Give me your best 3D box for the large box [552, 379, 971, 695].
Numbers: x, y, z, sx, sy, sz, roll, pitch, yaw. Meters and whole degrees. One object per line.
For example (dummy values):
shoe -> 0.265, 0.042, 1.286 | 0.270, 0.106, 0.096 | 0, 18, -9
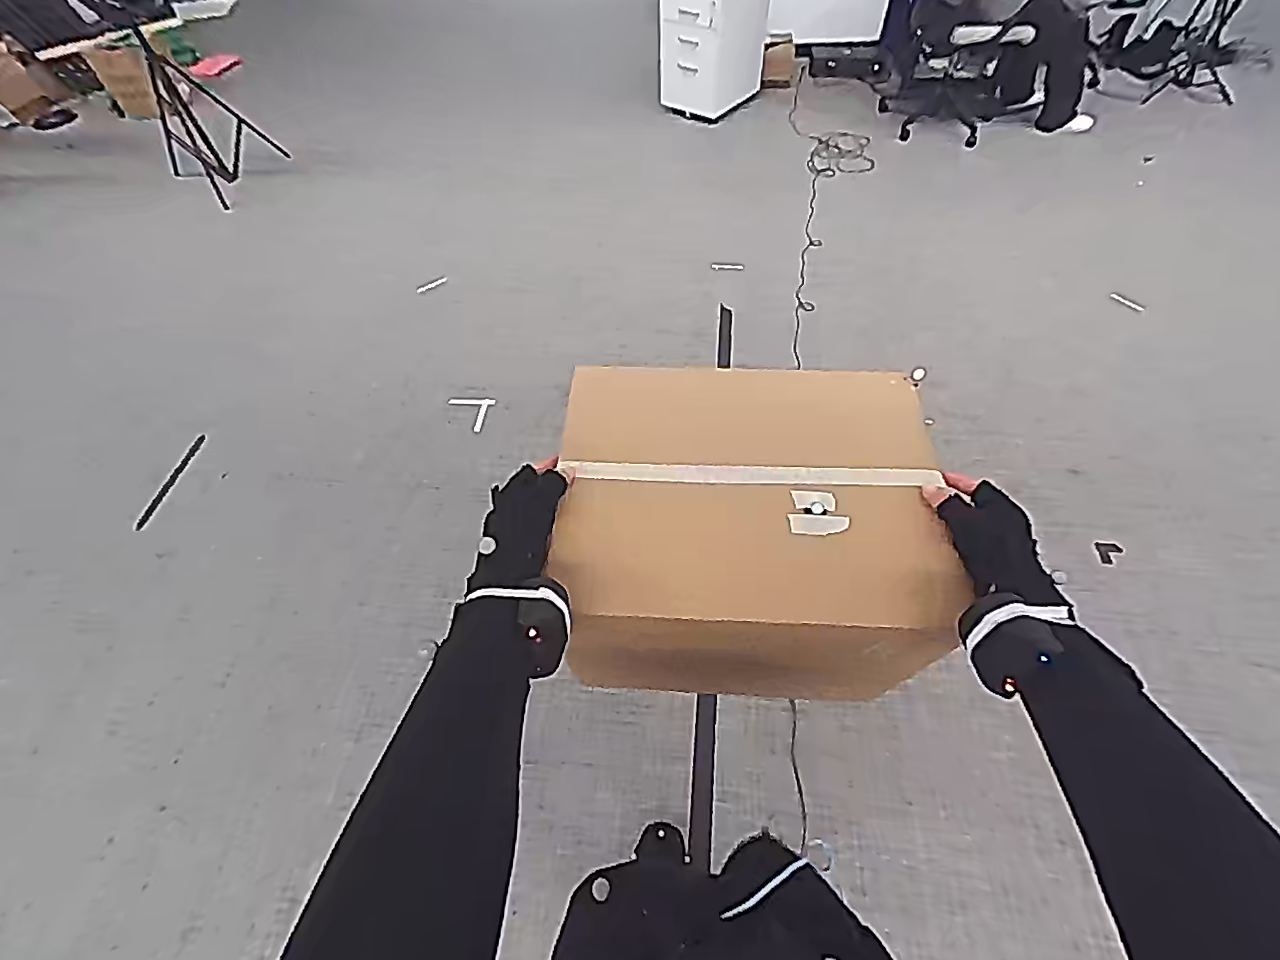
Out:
large box -> 0.120, 0.086, 0.714 | 0.408, 0.320, 0.320 | 2, 57, 3
